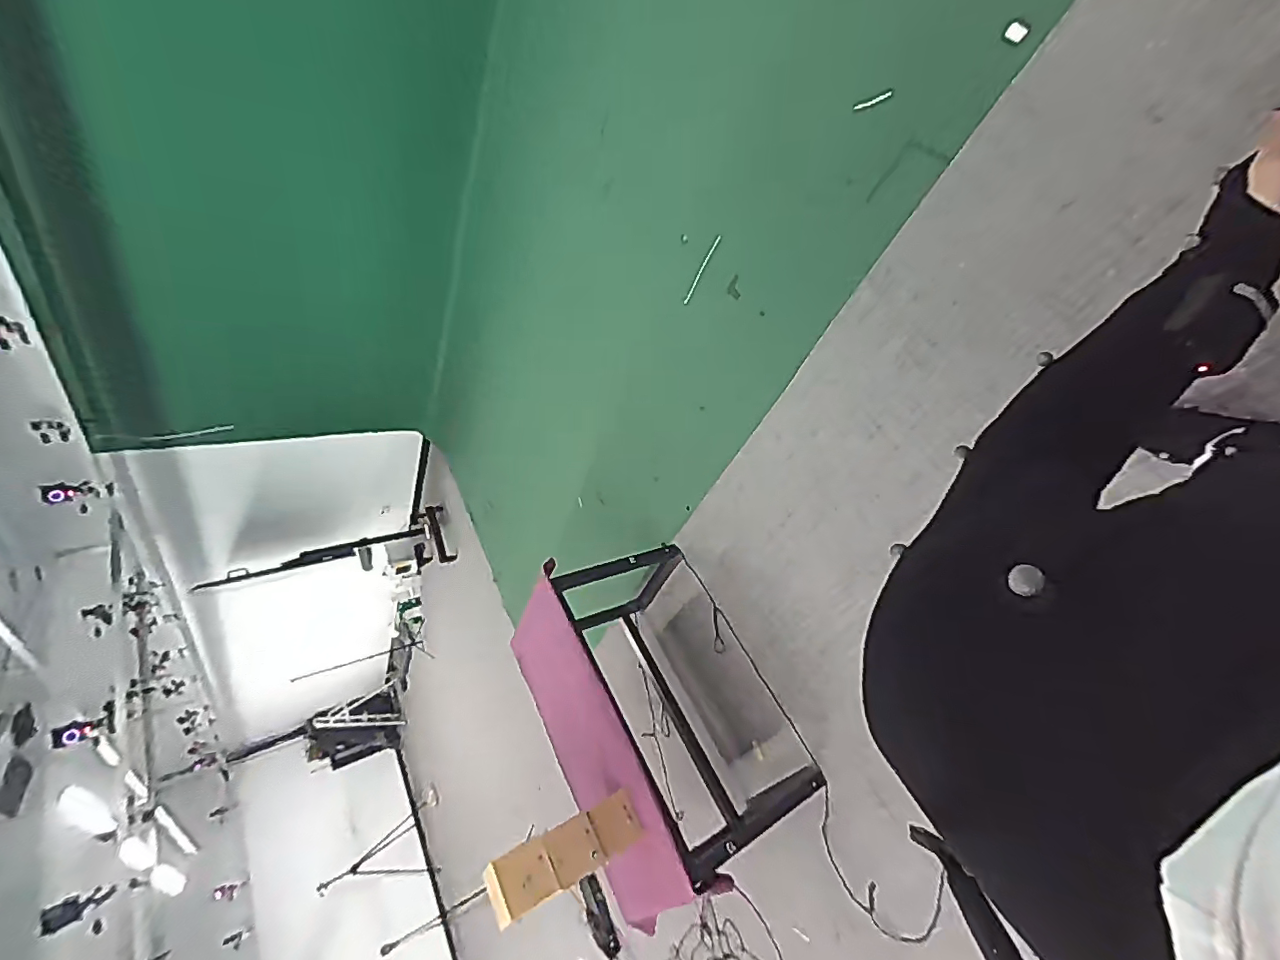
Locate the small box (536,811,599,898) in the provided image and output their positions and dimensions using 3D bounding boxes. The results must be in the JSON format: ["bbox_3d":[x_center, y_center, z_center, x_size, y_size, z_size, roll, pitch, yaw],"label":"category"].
[{"bbox_3d":[-0.254,1.232,1.785,0.168,0.176,0.179,56,138,27],"label":"small box"}]

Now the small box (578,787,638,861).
[{"bbox_3d":[-0.130,1.213,1.890,0.168,0.176,0.179,56,137,28],"label":"small box"}]

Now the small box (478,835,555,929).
[{"bbox_3d":[-0.384,1.251,1.690,0.168,0.176,0.179,54,137,29],"label":"small box"}]
